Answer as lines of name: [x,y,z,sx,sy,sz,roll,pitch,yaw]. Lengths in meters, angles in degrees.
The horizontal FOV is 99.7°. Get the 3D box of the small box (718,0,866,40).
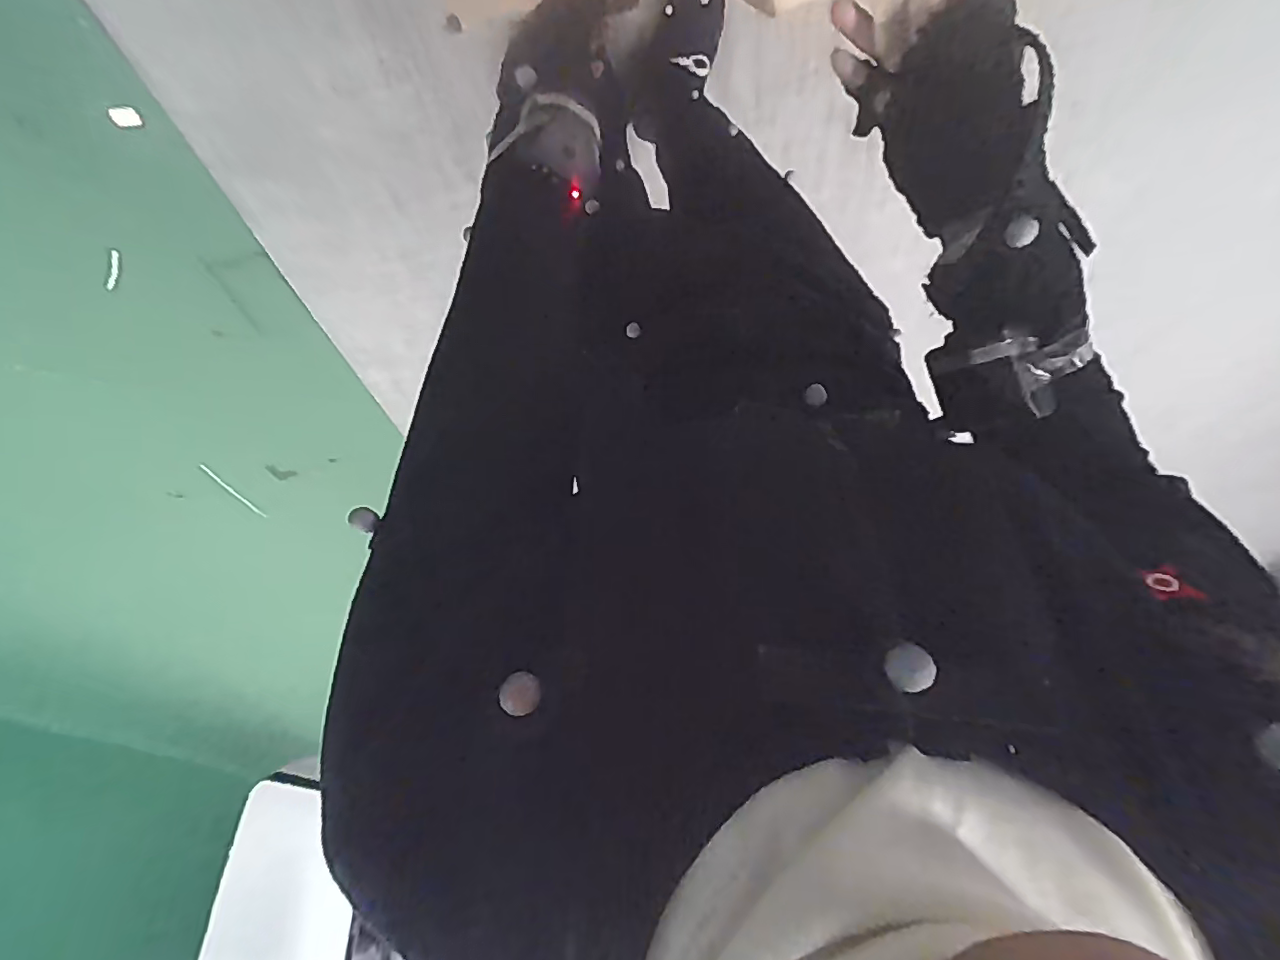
small box: [0.100,-0.362,0.257,0.168,0.176,0.179,-17,141,5]
